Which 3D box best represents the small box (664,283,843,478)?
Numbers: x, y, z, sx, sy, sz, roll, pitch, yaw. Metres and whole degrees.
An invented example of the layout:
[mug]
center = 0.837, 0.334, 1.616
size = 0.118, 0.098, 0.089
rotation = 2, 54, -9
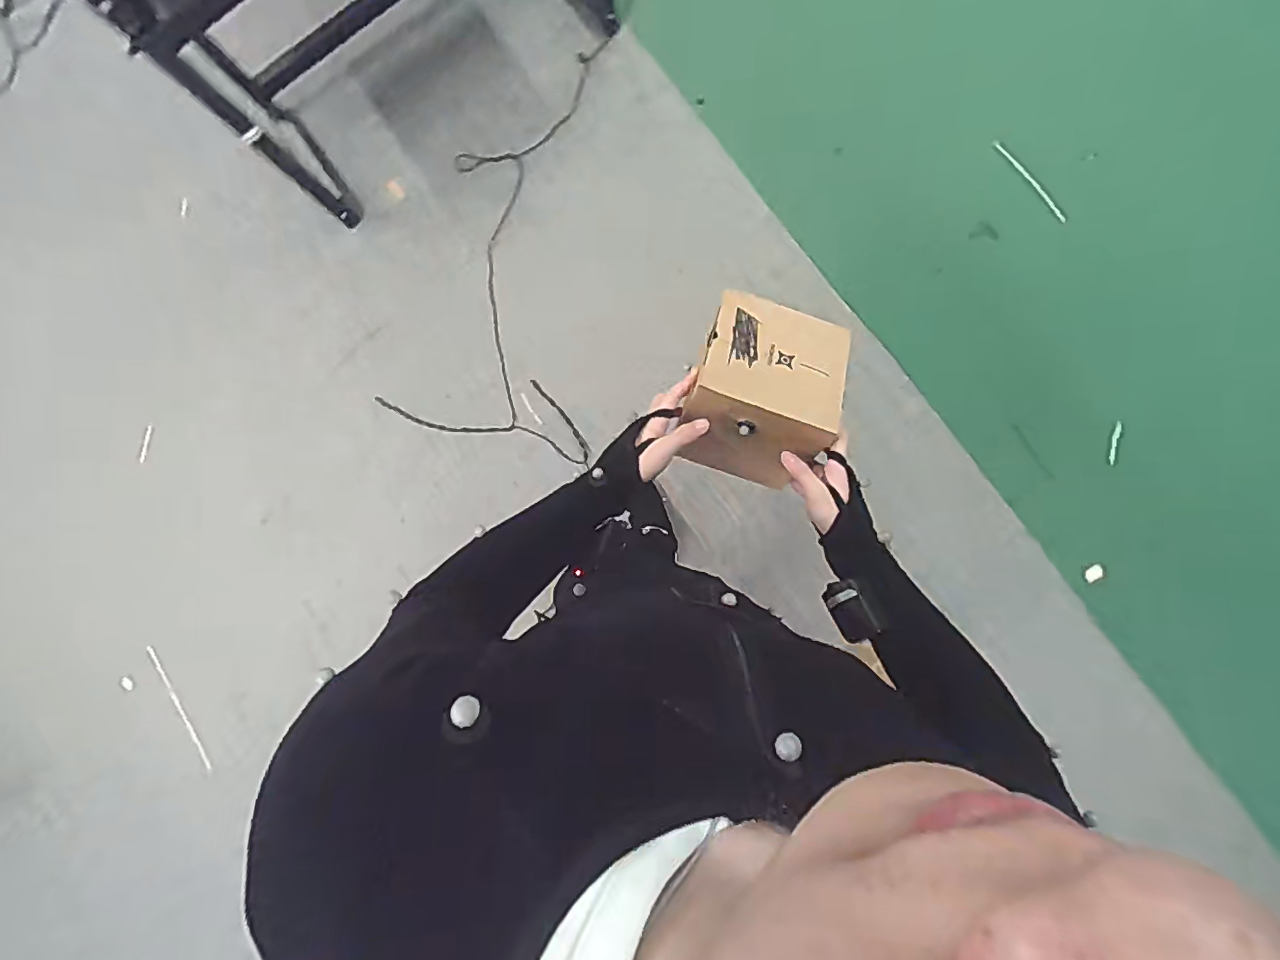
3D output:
[small box]
center = 0.144, -0.122, 0.724
size = 0.179, 0.176, 0.168
rotation = 18, 63, -2
